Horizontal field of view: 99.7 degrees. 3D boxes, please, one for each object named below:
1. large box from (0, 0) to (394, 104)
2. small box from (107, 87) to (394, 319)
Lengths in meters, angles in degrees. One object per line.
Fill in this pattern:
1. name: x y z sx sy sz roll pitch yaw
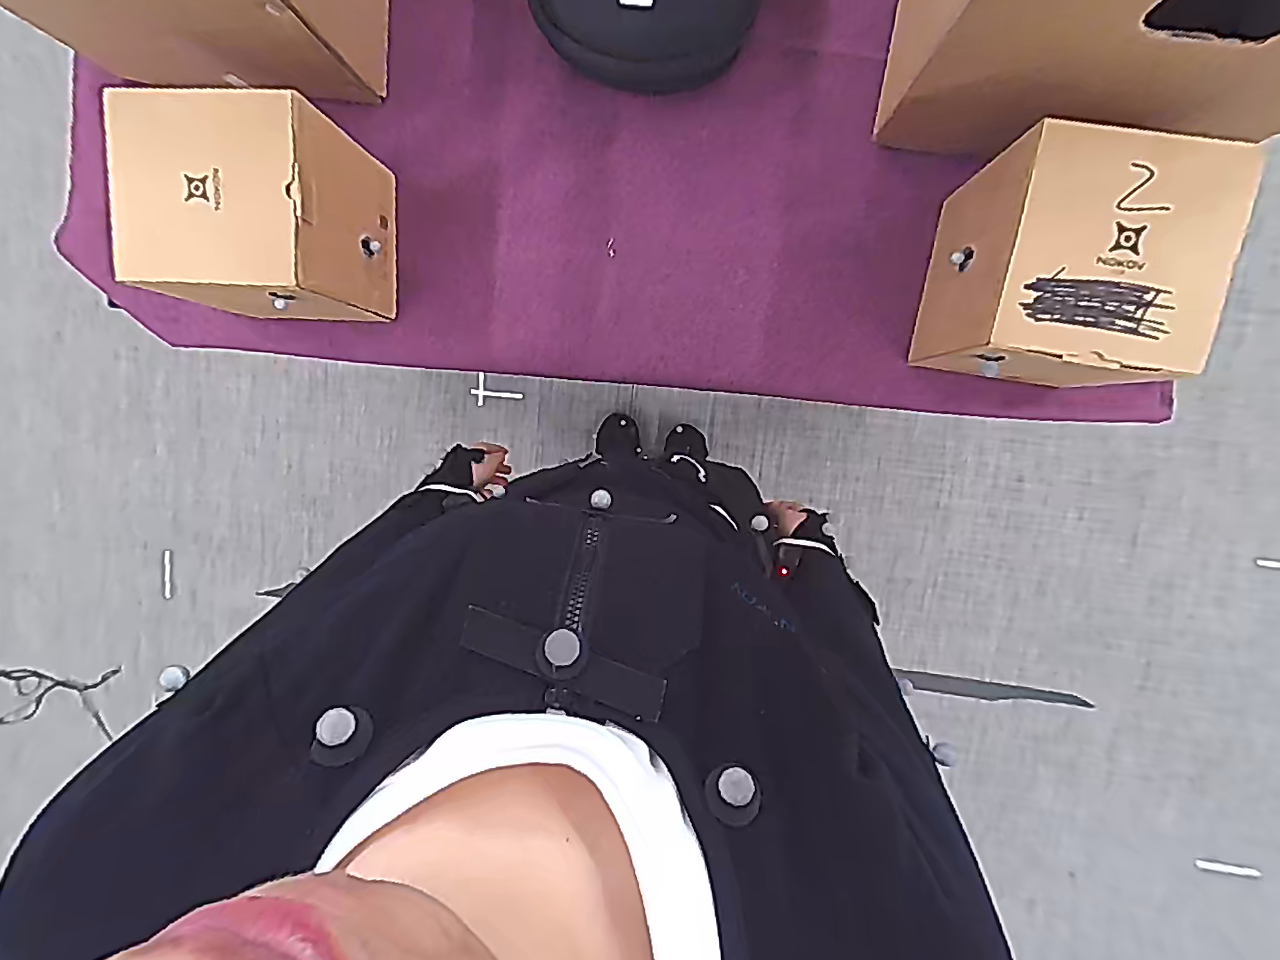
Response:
1. large box: -0.421 -0.613 0.443 0.320 0.320 0.408 6 100 2
2. small box: -0.380 -0.265 0.556 0.179 0.176 0.168 2 96 3
